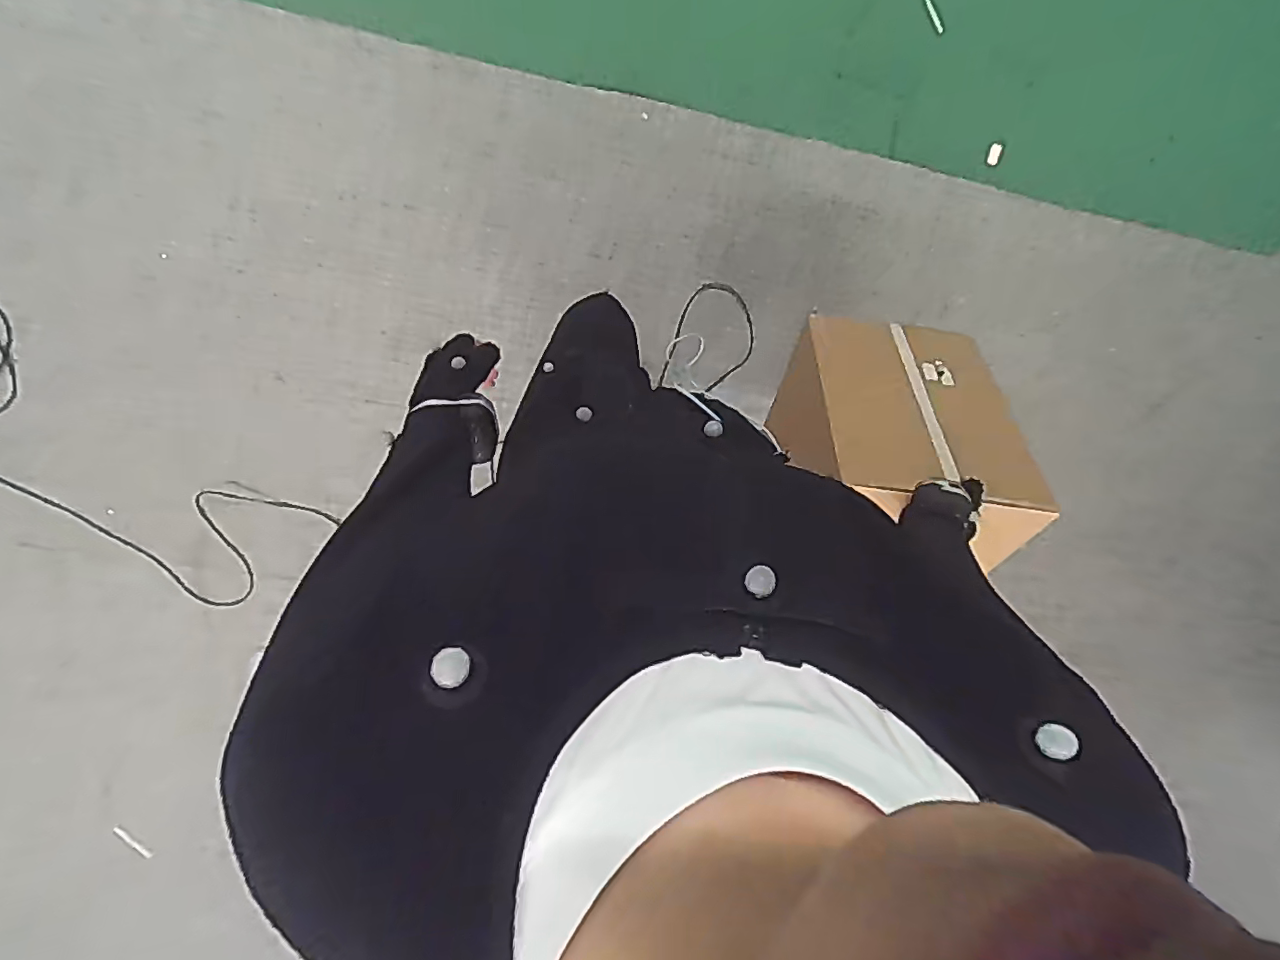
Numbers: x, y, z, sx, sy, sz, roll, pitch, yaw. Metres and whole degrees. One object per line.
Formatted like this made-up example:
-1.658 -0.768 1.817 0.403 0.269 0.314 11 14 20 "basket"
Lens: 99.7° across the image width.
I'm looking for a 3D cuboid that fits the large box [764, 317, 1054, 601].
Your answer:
0.427 -0.035 0.985 0.320 0.408 0.320 8 141 -2 "large box"
